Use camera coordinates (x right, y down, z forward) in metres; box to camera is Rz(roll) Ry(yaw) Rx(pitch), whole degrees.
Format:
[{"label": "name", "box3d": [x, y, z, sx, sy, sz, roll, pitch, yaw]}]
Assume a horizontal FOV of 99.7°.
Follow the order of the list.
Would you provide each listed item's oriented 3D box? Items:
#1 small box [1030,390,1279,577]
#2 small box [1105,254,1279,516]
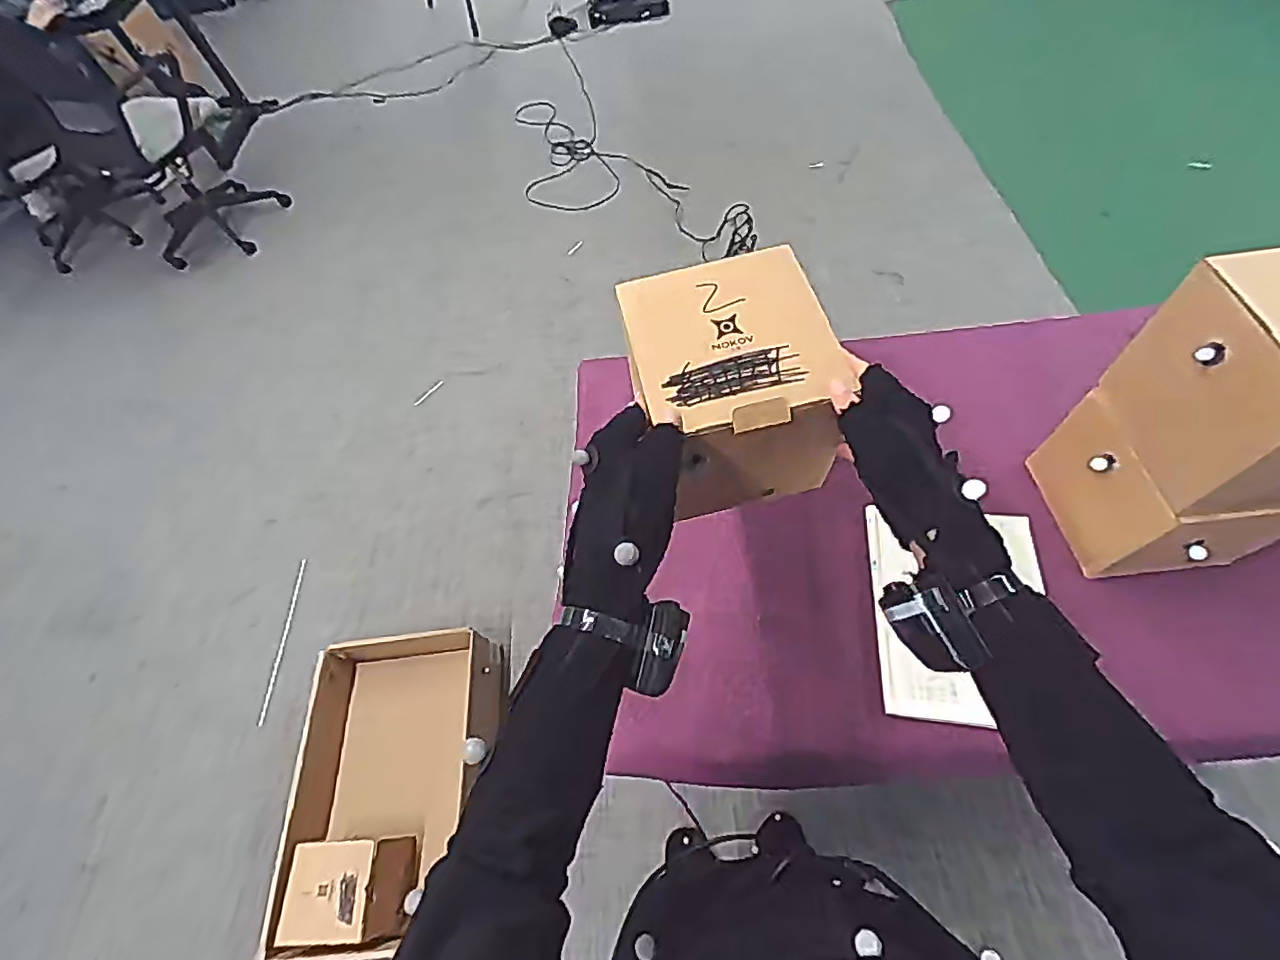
[{"label": "small box", "box3d": [0.608, 0.004, 0.631, 0.168, 0.176, 0.179, -8, 58, 5]}, {"label": "small box", "box3d": [0.587, -0.084, 0.493, 0.168, 0.176, 0.179, -5, 59, 7]}]
